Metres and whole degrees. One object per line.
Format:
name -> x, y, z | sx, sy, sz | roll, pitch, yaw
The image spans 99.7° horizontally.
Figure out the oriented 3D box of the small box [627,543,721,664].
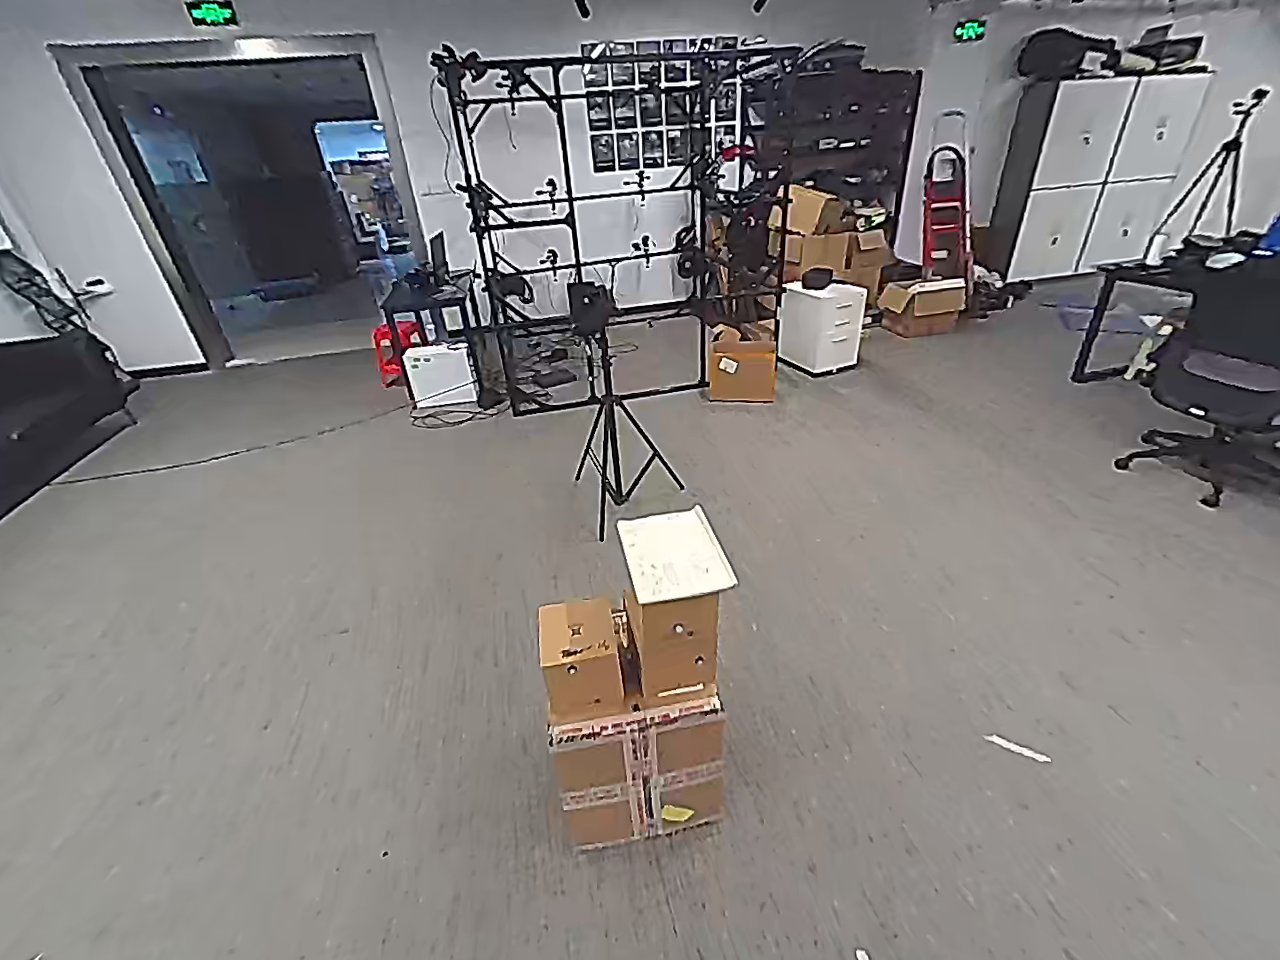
small box -> 0.065, 0.262, 1.159 | 0.168, 0.176, 0.179 | -7, 33, -9
